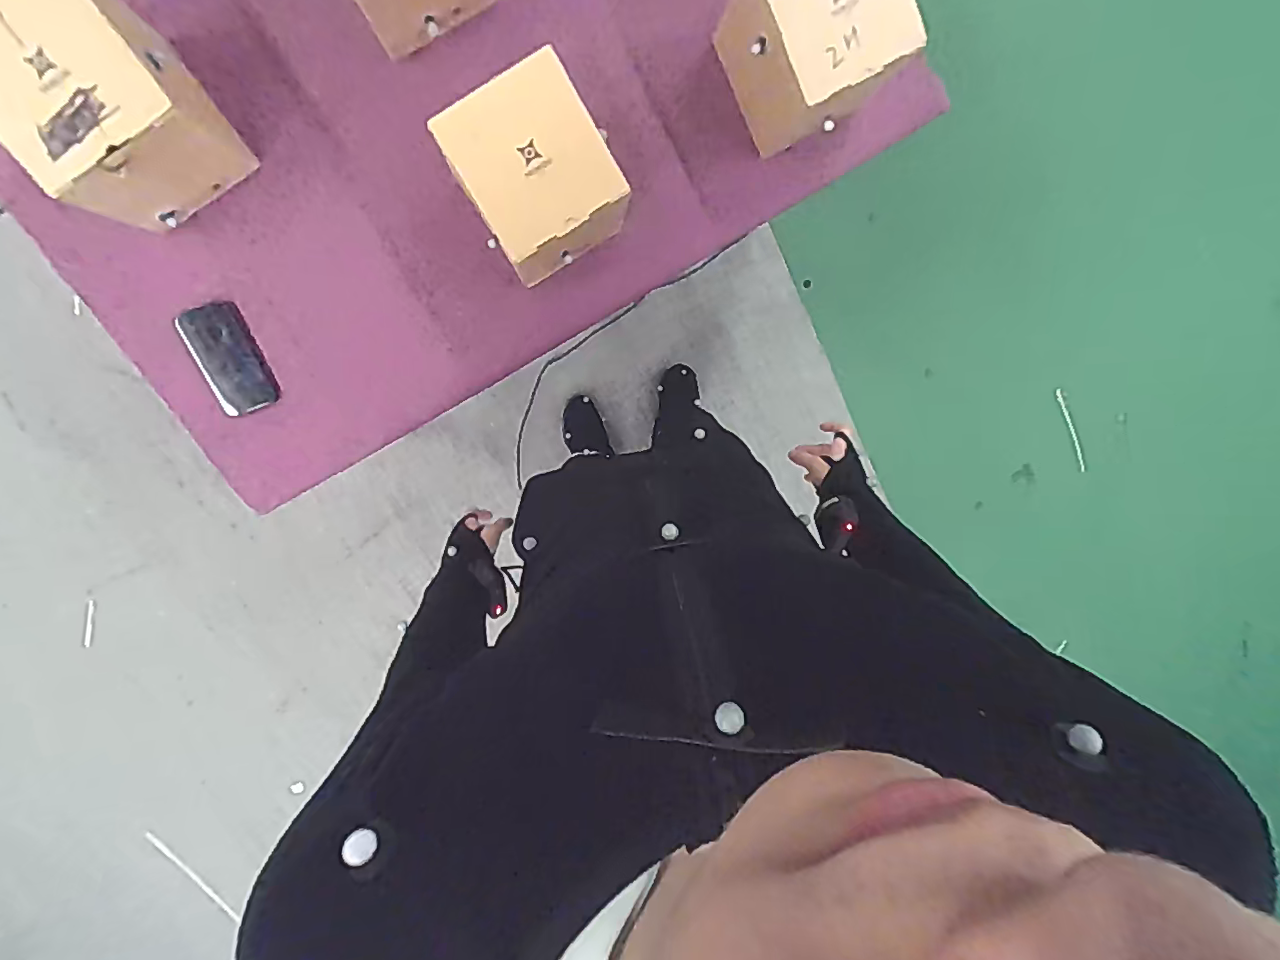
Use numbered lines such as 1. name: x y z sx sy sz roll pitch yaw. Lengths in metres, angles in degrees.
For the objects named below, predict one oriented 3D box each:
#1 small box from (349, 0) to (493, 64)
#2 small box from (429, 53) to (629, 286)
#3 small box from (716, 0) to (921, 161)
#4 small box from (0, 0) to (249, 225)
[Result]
1. small box: -0.293 -0.645 0.625 0.168 0.176 0.179 -31 104 0
2. small box: -0.136 -0.378 0.697 0.168 0.176 0.179 -33 103 -1
3. small box: 0.219 -0.564 0.706 0.168 0.176 0.179 -28 103 0
4. small box: -0.610 -0.421 0.621 0.168 0.176 0.179 -35 103 -1
